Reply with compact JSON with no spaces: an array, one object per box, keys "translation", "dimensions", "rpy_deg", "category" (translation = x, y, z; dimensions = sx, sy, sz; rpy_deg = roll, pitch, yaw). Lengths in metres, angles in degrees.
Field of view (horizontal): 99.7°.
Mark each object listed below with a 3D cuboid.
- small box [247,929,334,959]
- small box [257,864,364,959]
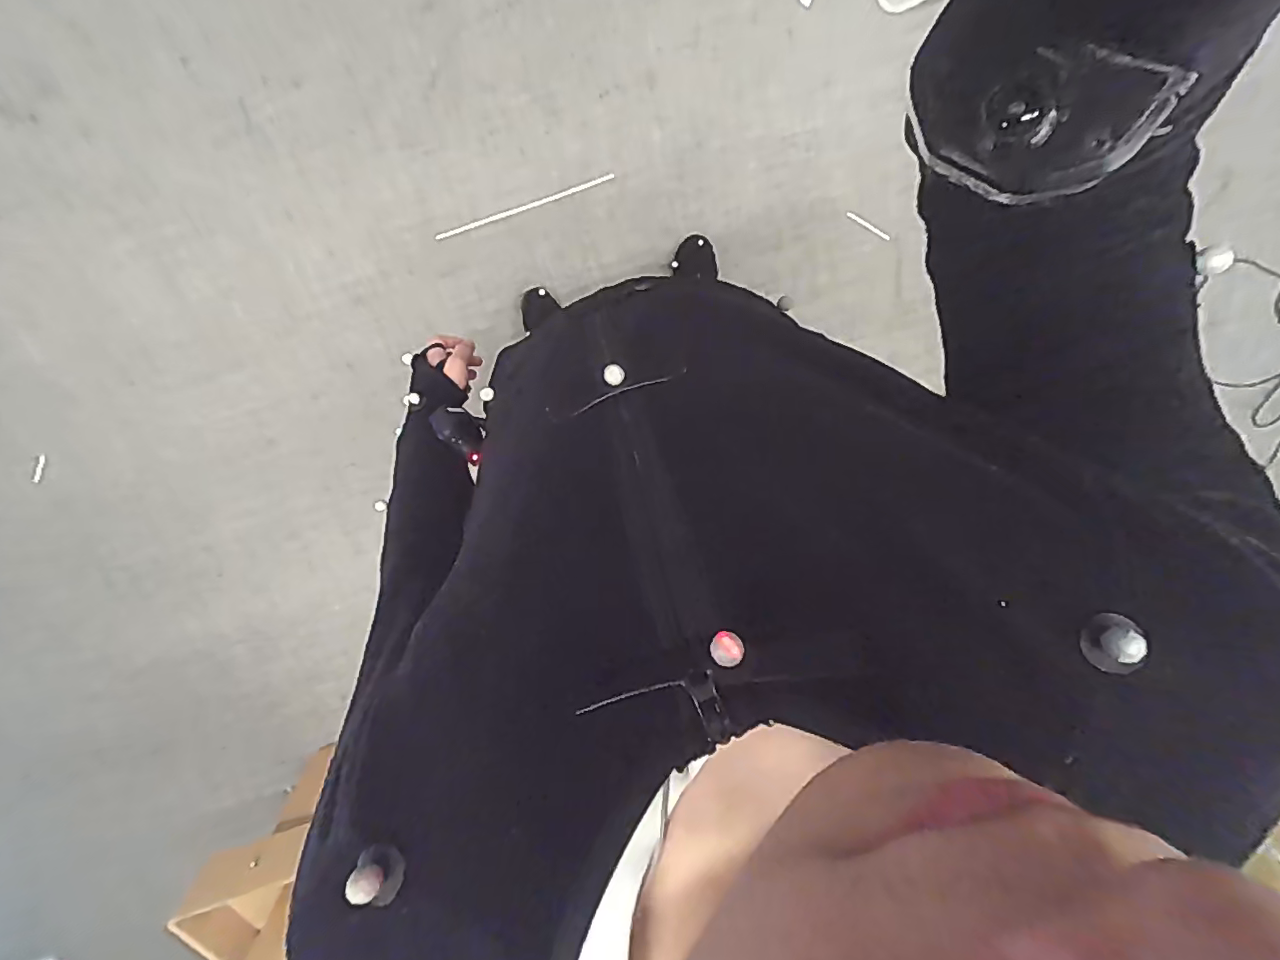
[{"translation":[-0.943,1.330,1.421],"dimensions":[0.179,0.176,0.168],"rpy_deg":[-19,112,6],"category":"small box"},{"translation":[-0.946,1.266,1.572],"dimensions":[0.168,0.176,0.179],"rpy_deg":[-21,112,6],"category":"small box"}]
